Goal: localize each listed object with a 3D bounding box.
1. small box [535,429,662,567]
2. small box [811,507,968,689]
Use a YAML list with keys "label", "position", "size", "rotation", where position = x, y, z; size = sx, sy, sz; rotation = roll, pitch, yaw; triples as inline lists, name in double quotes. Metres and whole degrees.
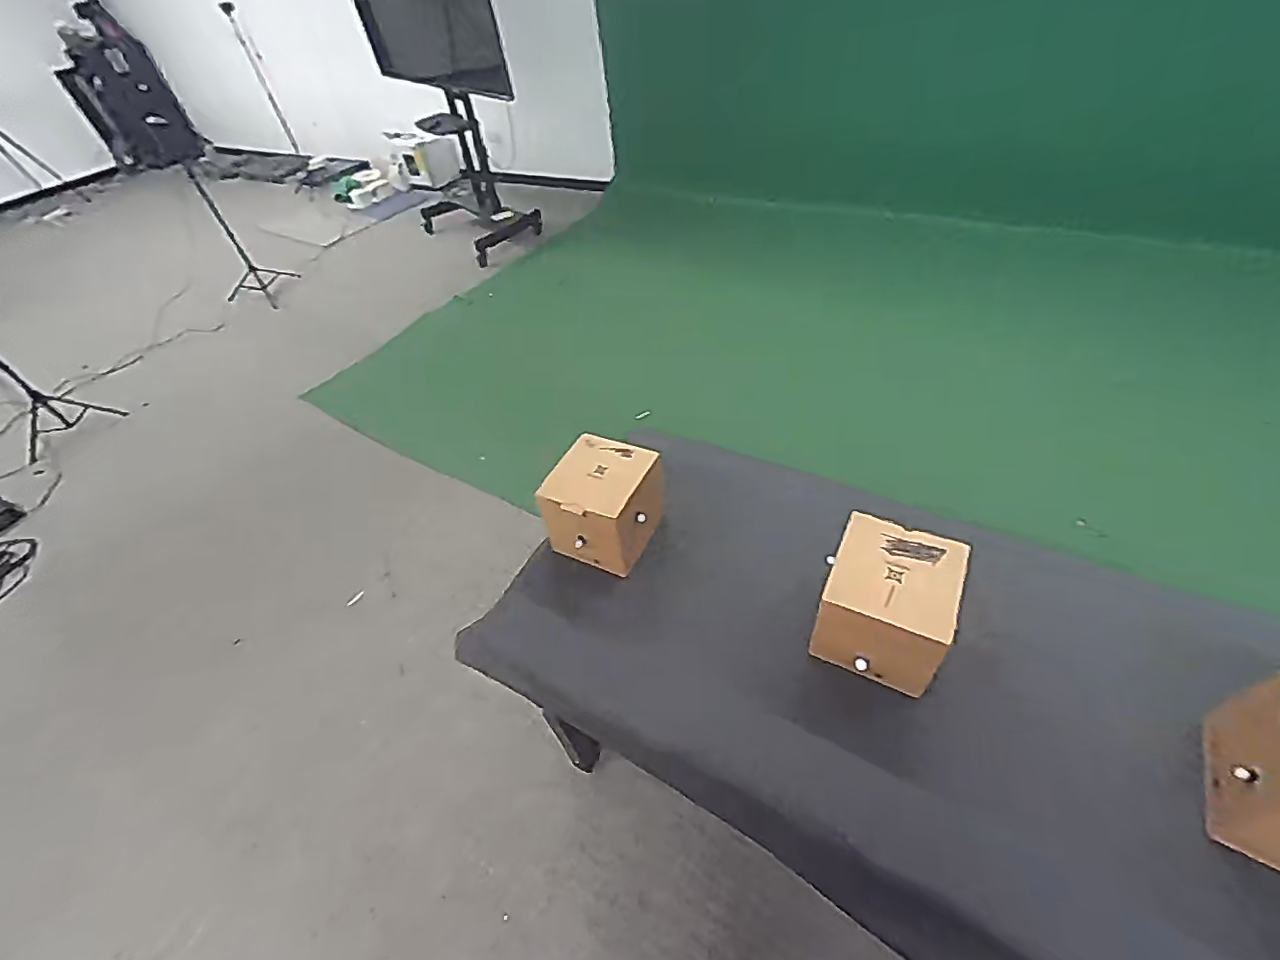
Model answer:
- label: "small box"
  position: [-0.066, 0.036, 1.021]
  size: [0.168, 0.176, 0.179]
  rotation: [17, 52, 23]
- label: "small box"
  position: [0.368, 0.177, 0.817]
  size: [0.168, 0.176, 0.179]
  rotation: [18, 53, 24]
